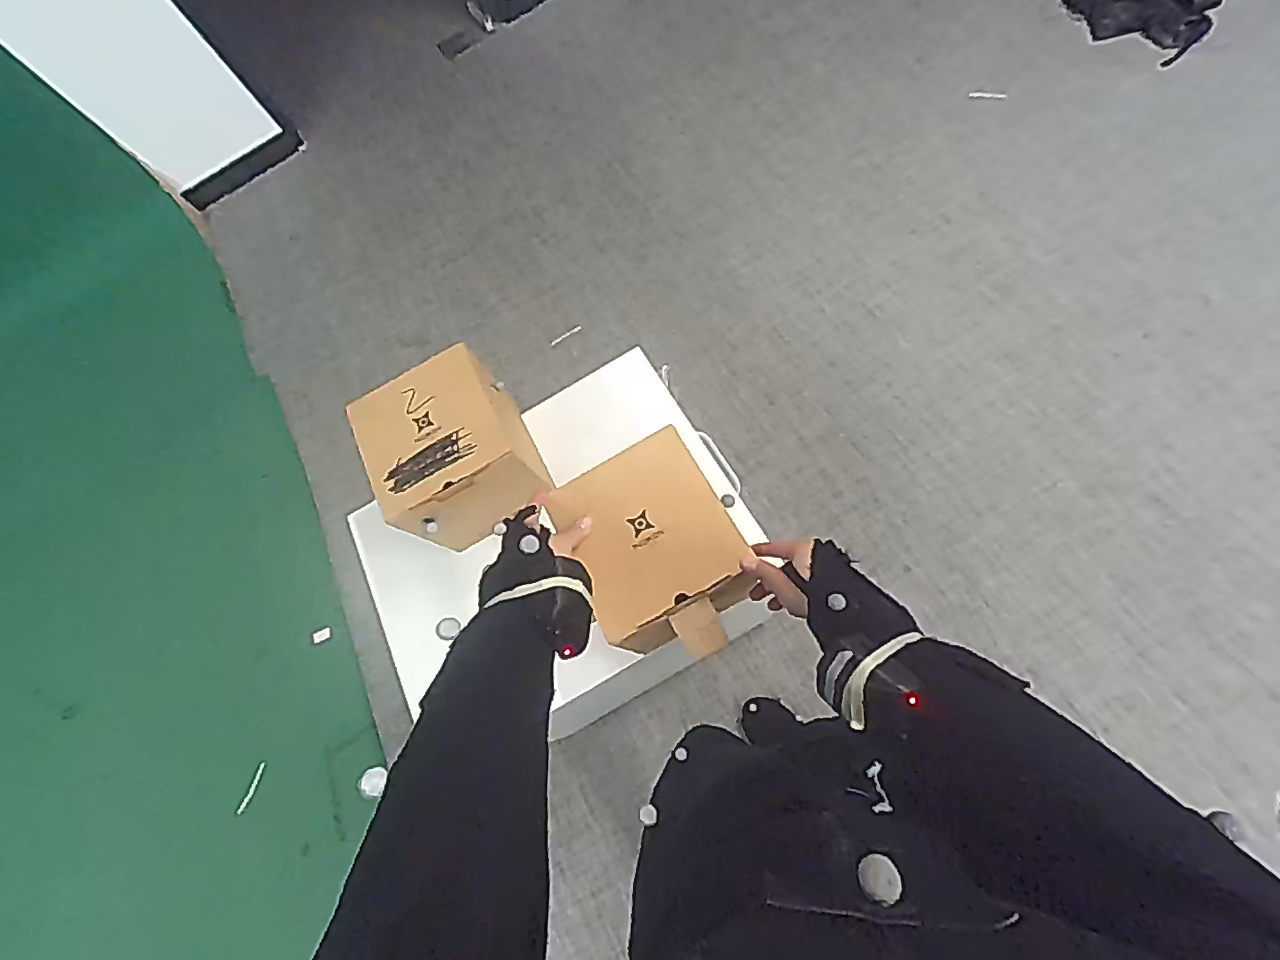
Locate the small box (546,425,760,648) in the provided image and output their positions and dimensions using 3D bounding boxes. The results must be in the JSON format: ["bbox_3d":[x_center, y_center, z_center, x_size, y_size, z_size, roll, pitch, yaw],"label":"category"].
[{"bbox_3d":[0.020,0.074,0.618,0.168,0.176,0.179,-30,67,0],"label":"small box"}]
